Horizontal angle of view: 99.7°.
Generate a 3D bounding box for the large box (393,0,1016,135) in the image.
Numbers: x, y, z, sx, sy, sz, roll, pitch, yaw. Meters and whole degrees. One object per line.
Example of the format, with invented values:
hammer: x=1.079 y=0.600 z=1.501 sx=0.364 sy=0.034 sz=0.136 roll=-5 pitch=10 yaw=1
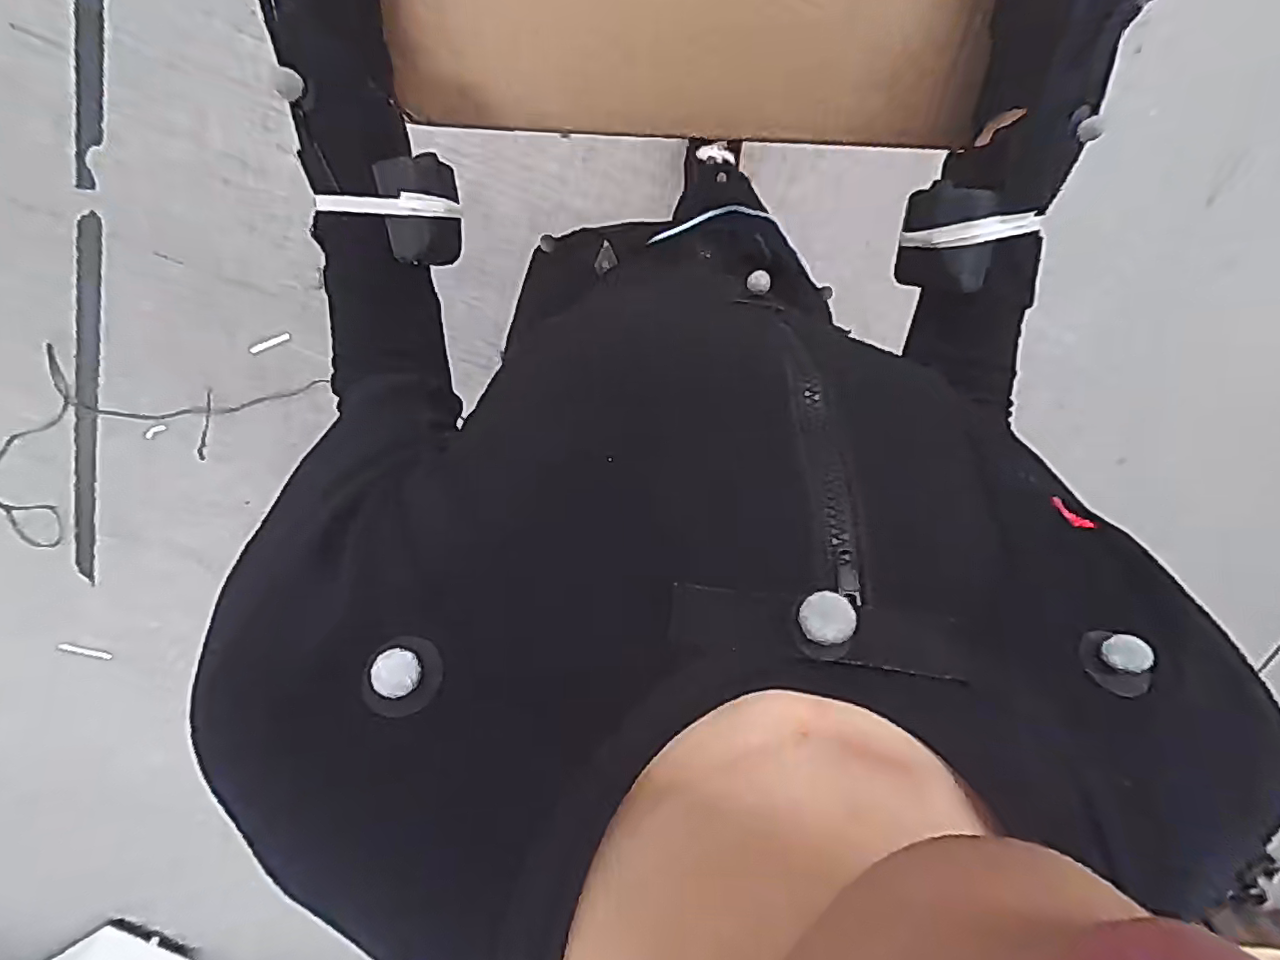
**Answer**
large box: x=0.042 y=-0.467 z=0.391 sx=0.408 sy=0.320 sz=0.320 roll=2 pitch=135 yaw=-1
